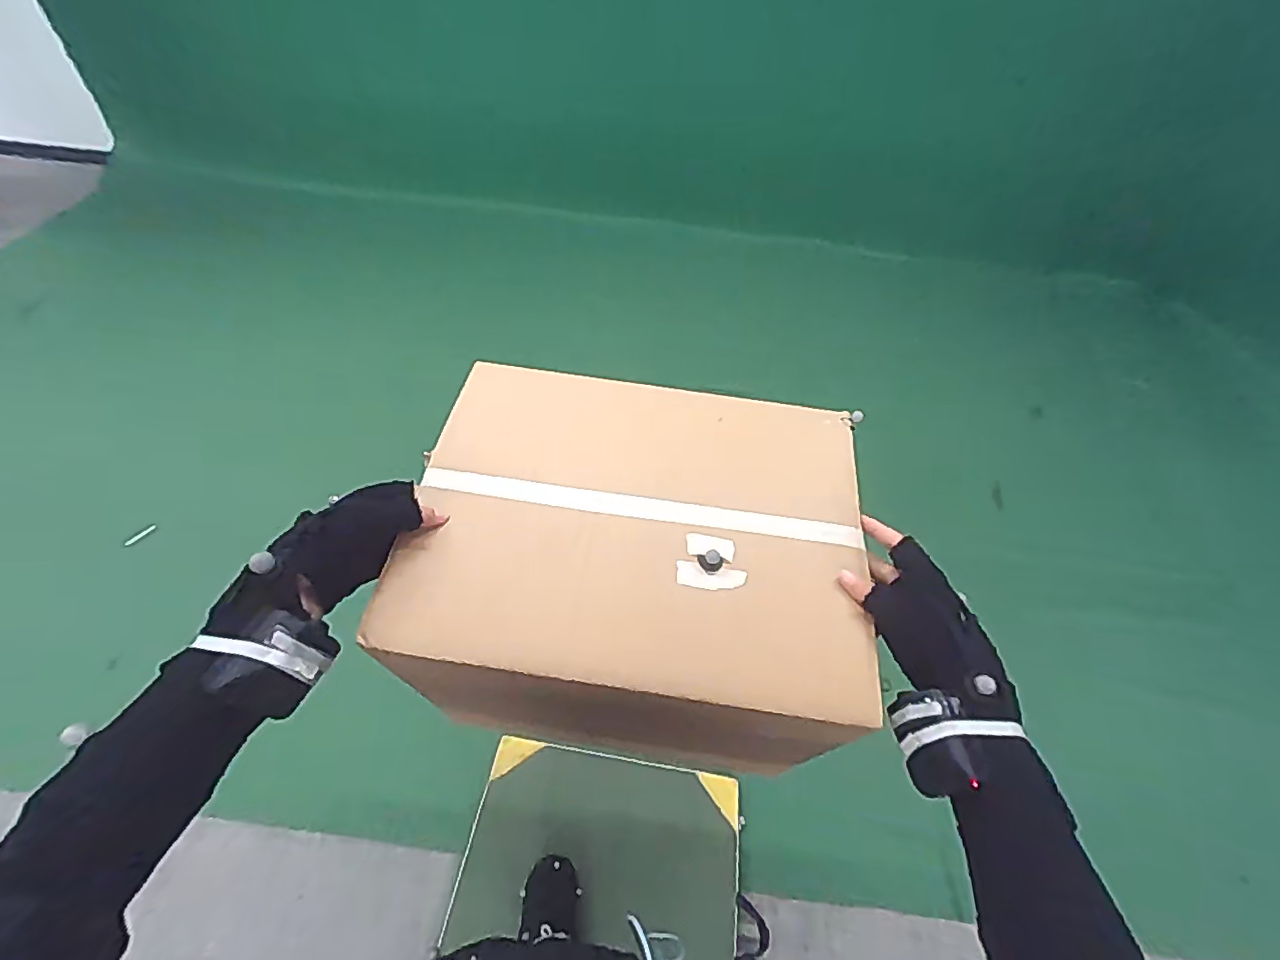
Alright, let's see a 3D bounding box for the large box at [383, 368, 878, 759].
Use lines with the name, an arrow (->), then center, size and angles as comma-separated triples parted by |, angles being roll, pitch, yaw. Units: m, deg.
large box -> -0.002, 0.109, 0.628 | 0.408, 0.320, 0.320 | 9, 56, 1
